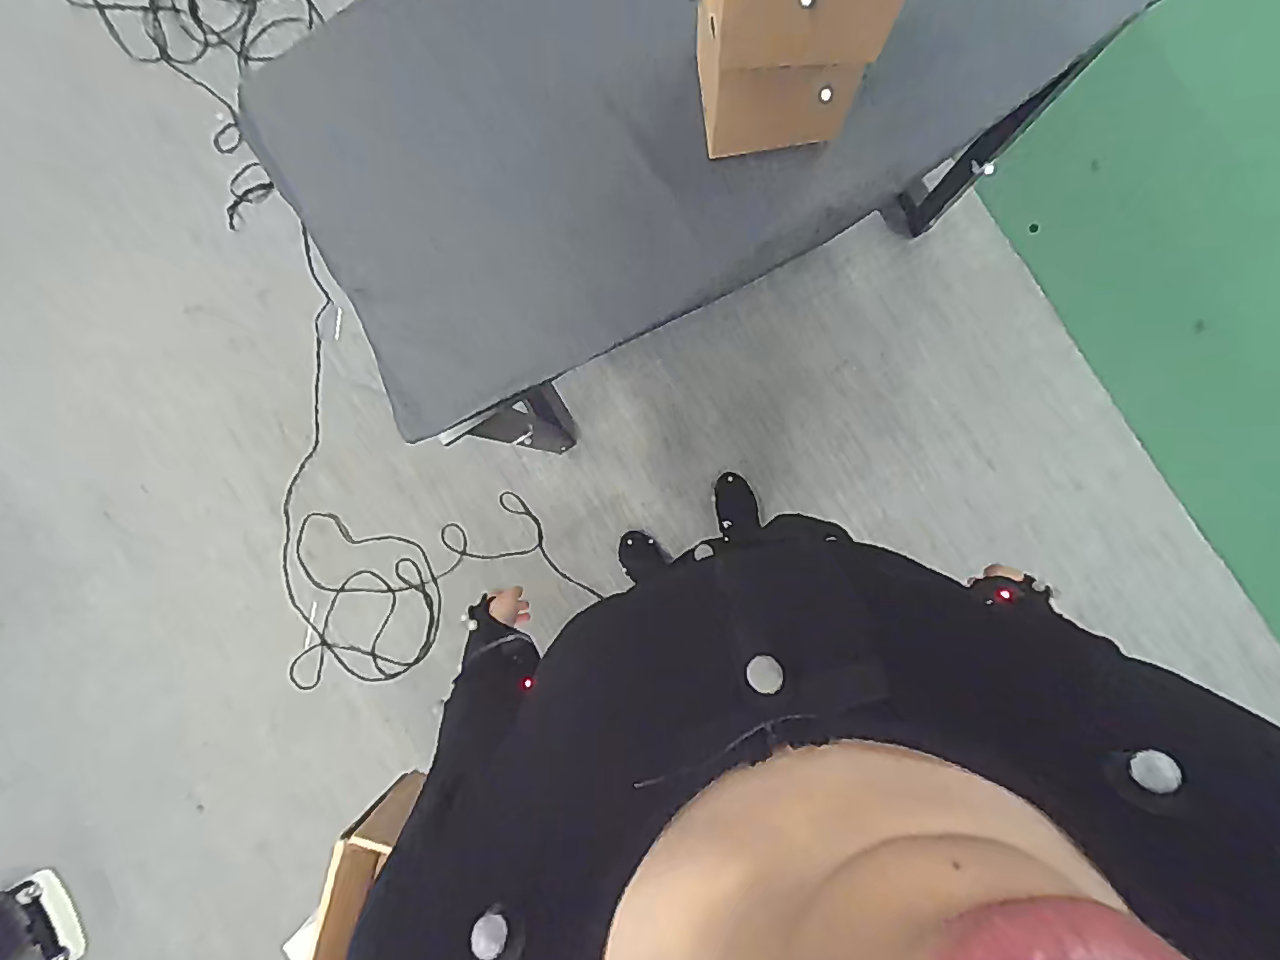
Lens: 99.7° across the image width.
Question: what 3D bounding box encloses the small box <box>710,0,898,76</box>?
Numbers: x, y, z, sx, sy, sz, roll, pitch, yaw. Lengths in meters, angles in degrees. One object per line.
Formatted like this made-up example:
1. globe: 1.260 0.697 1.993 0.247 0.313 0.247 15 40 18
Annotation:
1. small box: 0.162 -0.528 0.517 0.179 0.176 0.168 0 88 5
